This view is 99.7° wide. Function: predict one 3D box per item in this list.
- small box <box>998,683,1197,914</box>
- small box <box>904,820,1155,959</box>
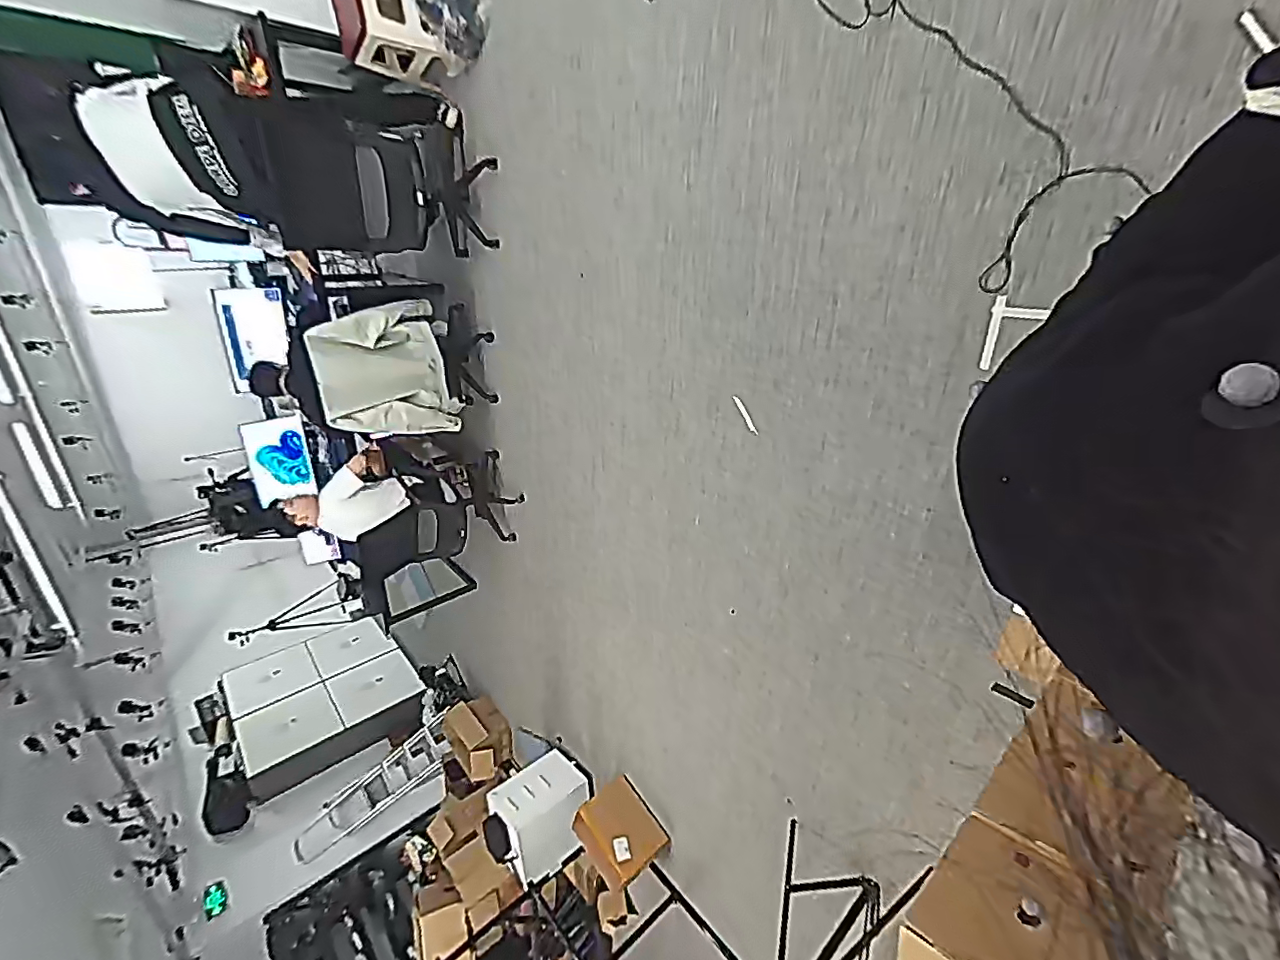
[{"bbox_3d":[0.625,0.415,0.741,0.168,0.176,0.179,18,118,47],"label":"small box"},{"bbox_3d":[0.380,0.494,0.538,0.168,0.176,0.179,13,113,48],"label":"small box"}]
